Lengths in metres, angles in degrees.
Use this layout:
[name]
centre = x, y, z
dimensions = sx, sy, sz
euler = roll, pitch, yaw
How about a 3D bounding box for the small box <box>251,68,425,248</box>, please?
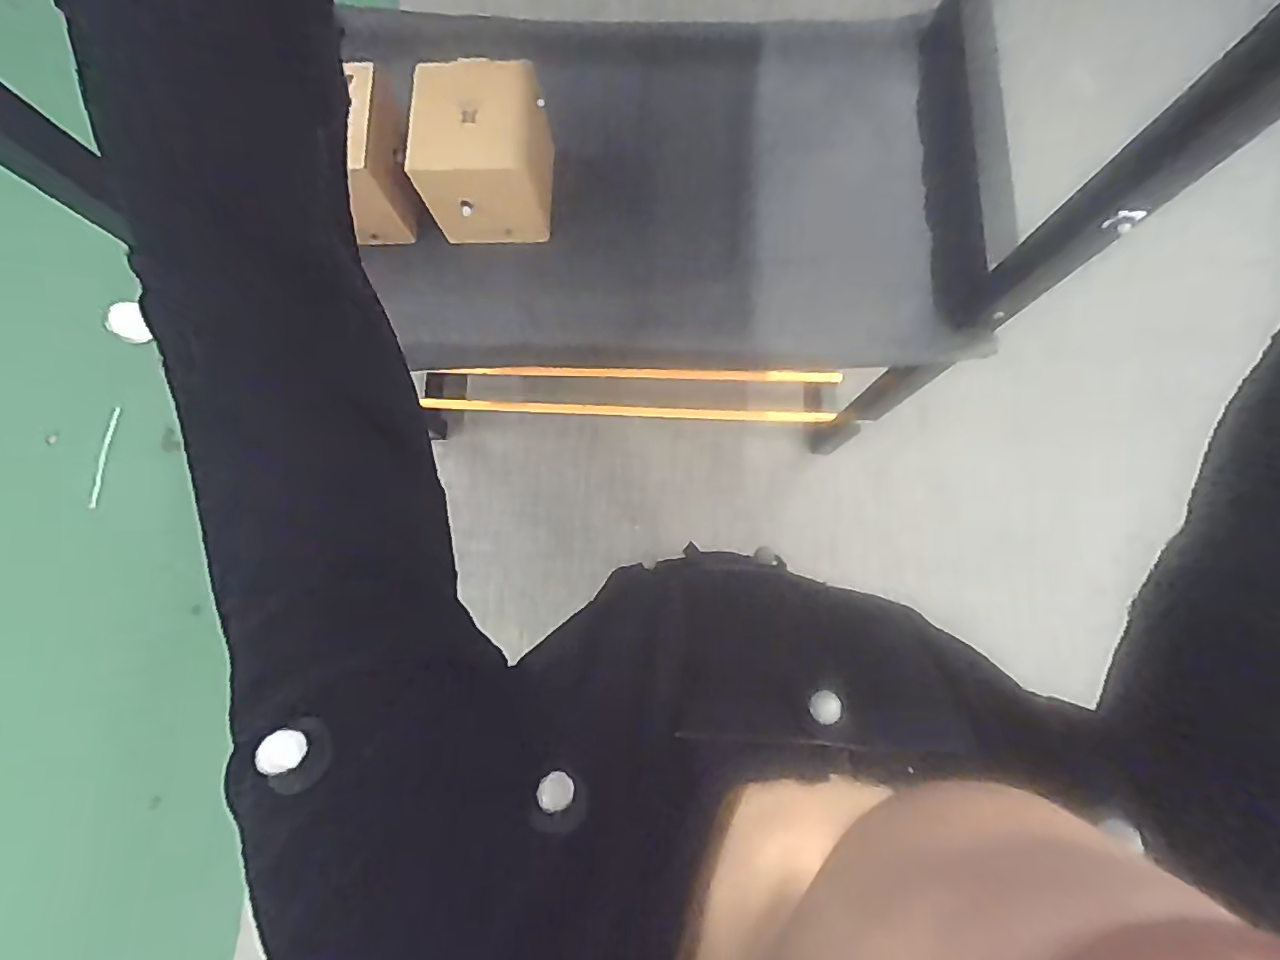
[small box]
centre = -0.446, -0.485, 0.830
dimensions = 0.168, 0.176, 0.179
euler = 0, 79, 2
